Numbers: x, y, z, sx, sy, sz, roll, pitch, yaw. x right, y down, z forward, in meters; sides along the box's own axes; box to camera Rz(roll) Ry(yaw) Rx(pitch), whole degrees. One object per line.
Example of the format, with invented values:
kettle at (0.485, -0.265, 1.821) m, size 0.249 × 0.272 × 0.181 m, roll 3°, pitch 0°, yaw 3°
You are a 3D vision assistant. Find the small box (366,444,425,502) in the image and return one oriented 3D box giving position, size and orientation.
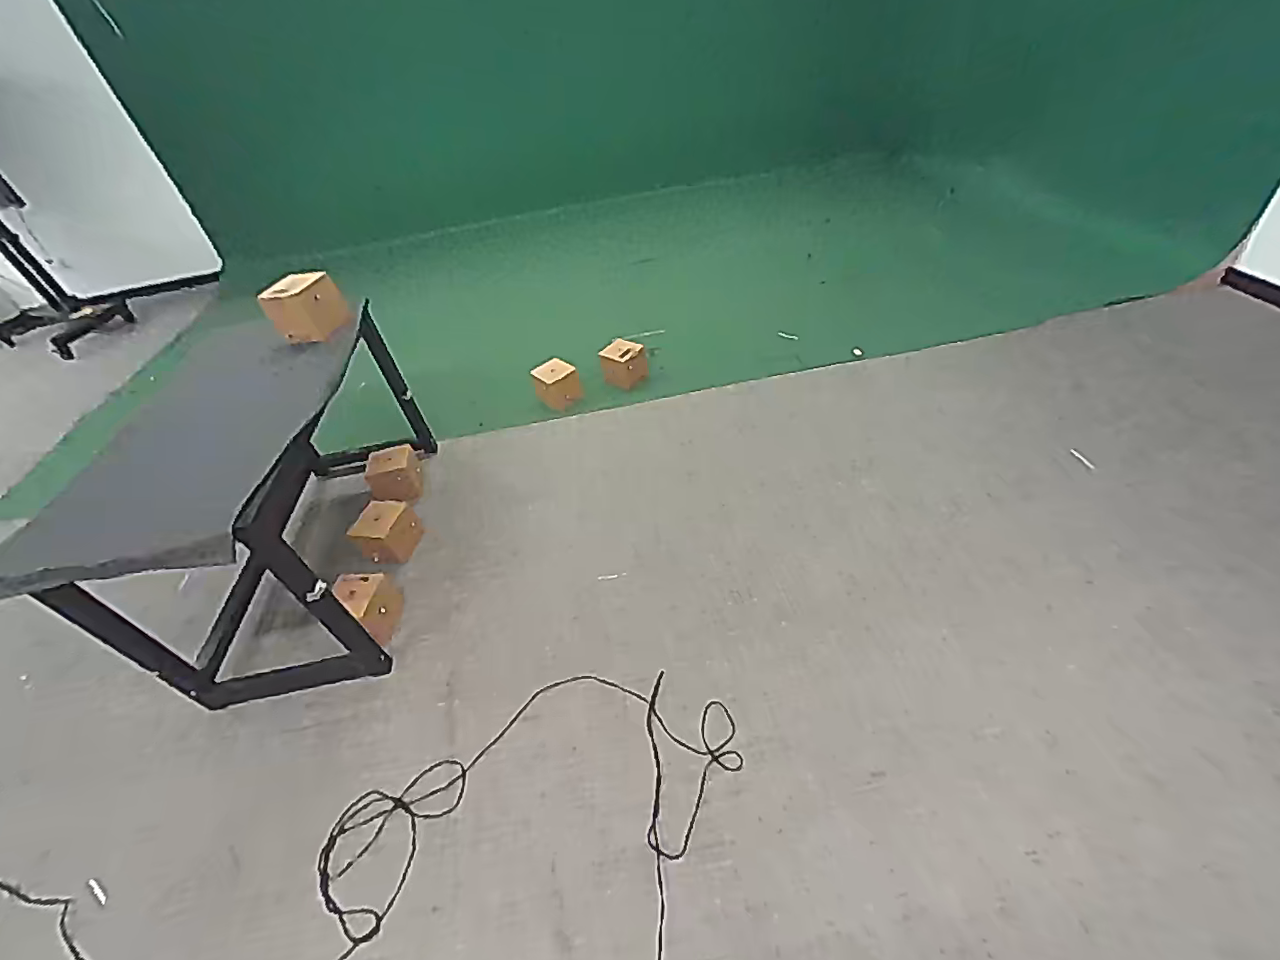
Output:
small box at (-1.044, -0.025, 2.323) m, size 0.179 × 0.176 × 0.168 m, roll -15°, pitch 43°, yaw -4°

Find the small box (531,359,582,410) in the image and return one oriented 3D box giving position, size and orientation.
small box at (-0.410, -0.470, 2.674) m, size 0.168 × 0.176 × 0.179 m, roll -37°, pitch 50°, yaw -26°

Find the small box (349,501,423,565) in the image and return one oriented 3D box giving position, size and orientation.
small box at (-0.960, 0.202, 2.070) m, size 0.168 × 0.176 × 0.179 m, roll 2°, pitch 46°, yaw 15°

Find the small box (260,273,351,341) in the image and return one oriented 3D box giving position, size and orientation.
small box at (-1.143, -0.591, 1.866) m, size 0.168 × 0.176 × 0.179 m, roll 2°, pitch 46°, yaw 16°

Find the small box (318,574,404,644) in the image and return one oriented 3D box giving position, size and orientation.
small box at (-0.925, 0.436, 1.816) m, size 0.168 × 0.176 × 0.179 m, roll -3°, pitch 44°, yaw 8°
